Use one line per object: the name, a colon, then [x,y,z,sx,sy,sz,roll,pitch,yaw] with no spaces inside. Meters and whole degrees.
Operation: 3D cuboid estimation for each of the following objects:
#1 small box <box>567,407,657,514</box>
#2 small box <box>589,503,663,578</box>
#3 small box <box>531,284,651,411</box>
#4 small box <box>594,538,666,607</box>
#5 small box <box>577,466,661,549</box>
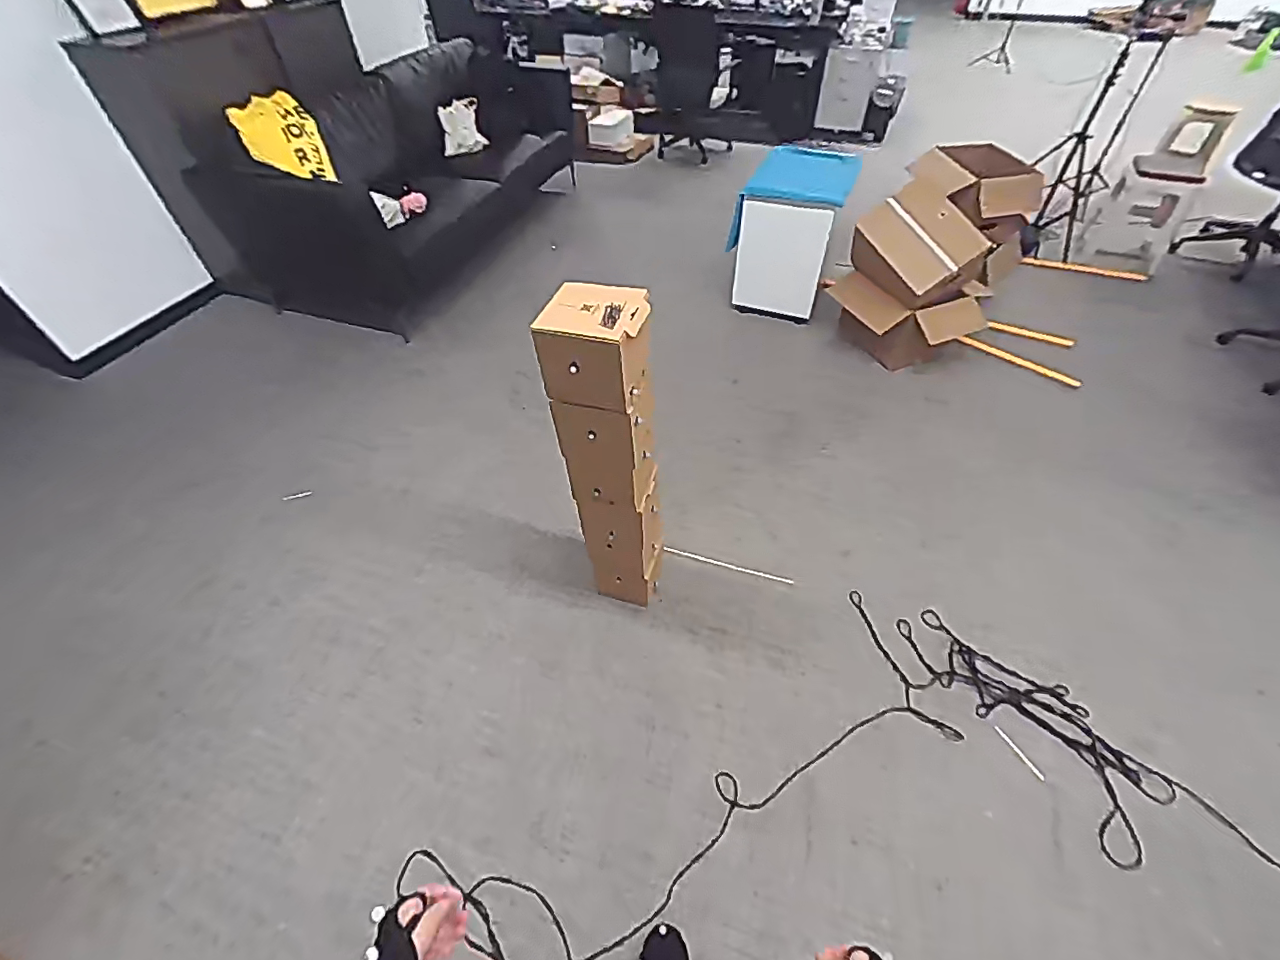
small box: [-0.061,-0.047,1.309,0.168,0.176,0.179,11,51,13]
small box: [-0.041,0.160,1.561,0.179,0.176,0.168,13,51,14]
small box: [-0.084,-0.257,1.058,0.179,0.176,0.168,12,51,16]
small box: [-0.026,0.273,1.679,0.179,0.176,0.168,13,50,14]
small box: [-0.048,0.062,1.431,0.179,0.176,0.168,12,50,13]
